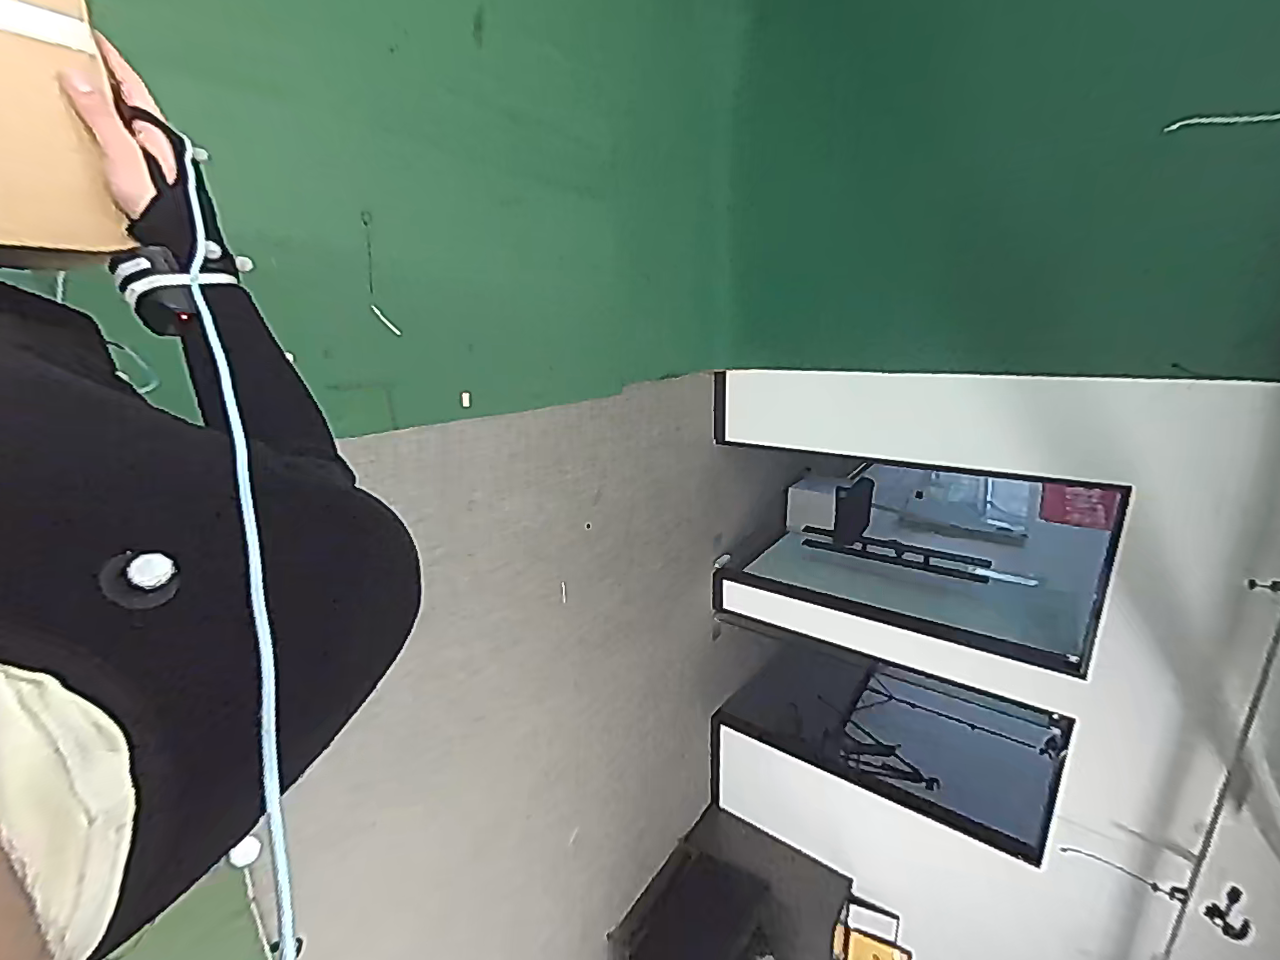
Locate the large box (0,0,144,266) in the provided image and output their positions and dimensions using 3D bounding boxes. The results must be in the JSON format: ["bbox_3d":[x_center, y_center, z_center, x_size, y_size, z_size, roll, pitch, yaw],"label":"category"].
[{"bbox_3d":[-0.682,-0.332,0.376,0.408,0.320,0.320,-21,117,-49],"label":"large box"}]
